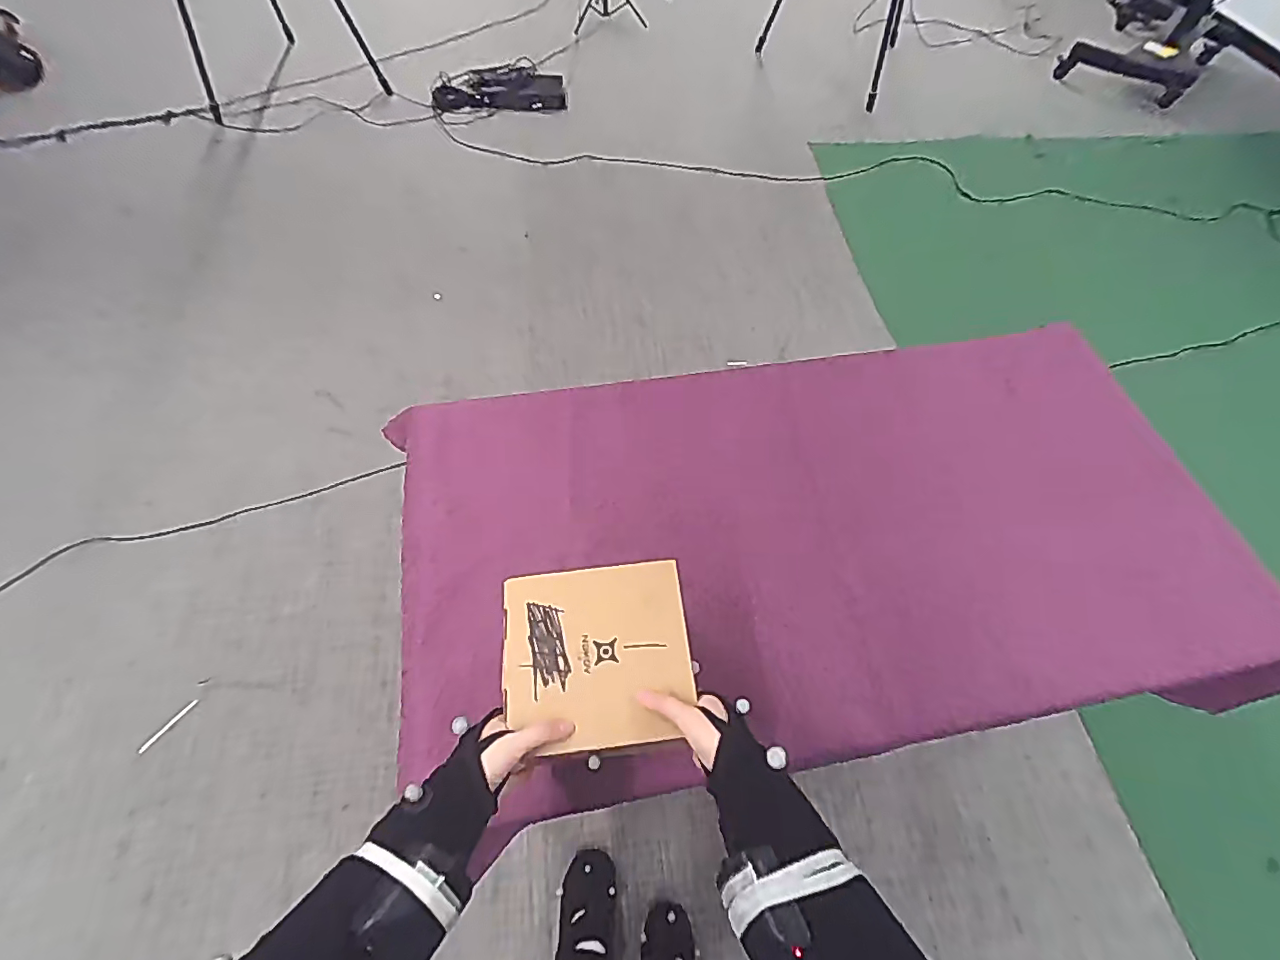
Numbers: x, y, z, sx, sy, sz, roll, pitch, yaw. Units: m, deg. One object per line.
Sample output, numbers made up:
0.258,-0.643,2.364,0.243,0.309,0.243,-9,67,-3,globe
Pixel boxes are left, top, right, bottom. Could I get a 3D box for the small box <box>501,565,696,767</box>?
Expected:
-0.042,0.205,0.581,0.179,0.176,0.168,-6,61,-3,small box
